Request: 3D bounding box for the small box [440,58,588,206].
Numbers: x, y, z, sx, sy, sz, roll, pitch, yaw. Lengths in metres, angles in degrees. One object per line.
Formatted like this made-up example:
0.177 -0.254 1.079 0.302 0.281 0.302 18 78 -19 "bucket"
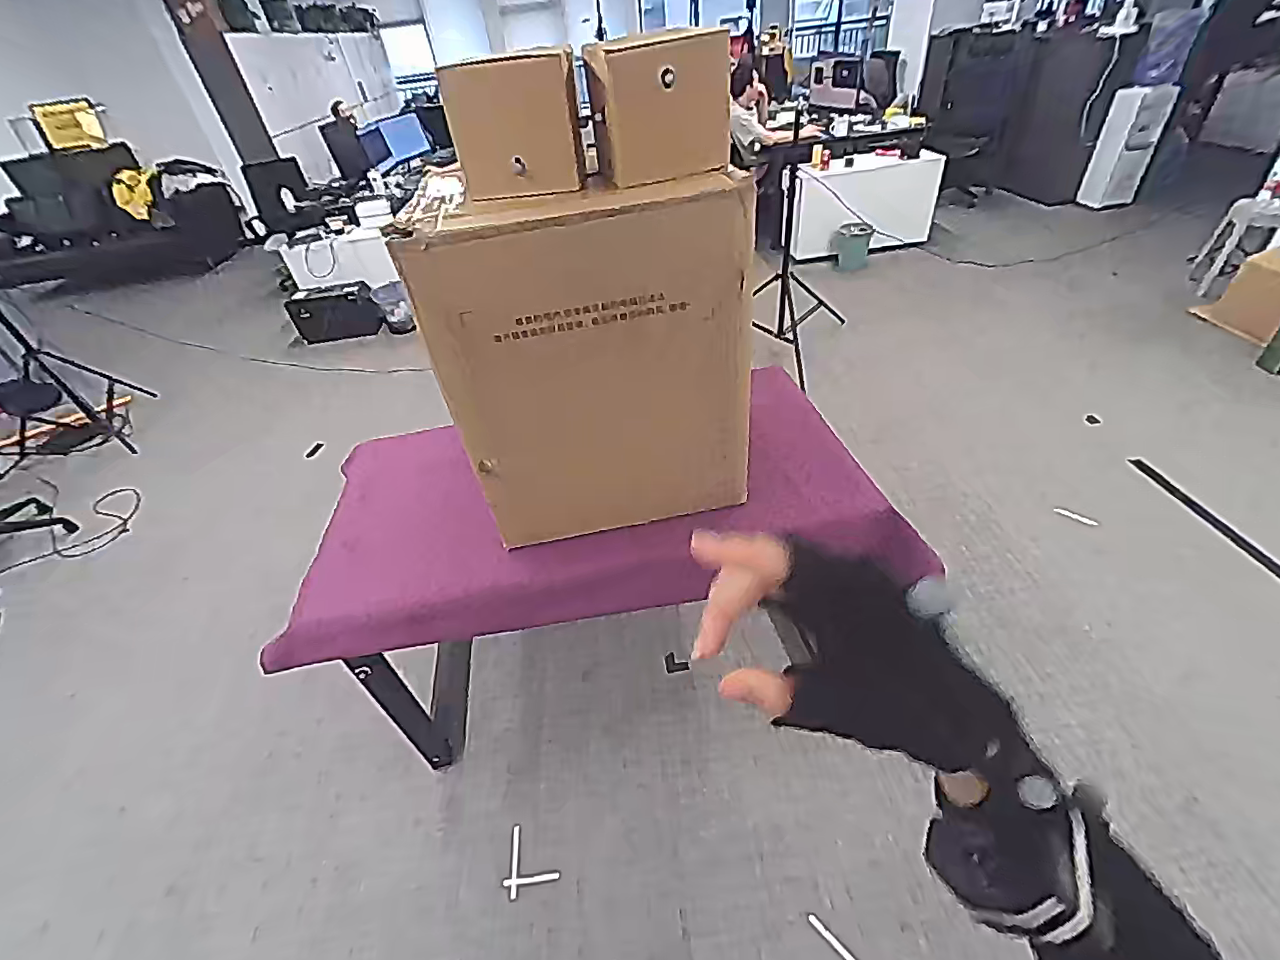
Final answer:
-0.180 -0.541 0.843 0.179 0.176 0.168 -3 40 3 "small box"
